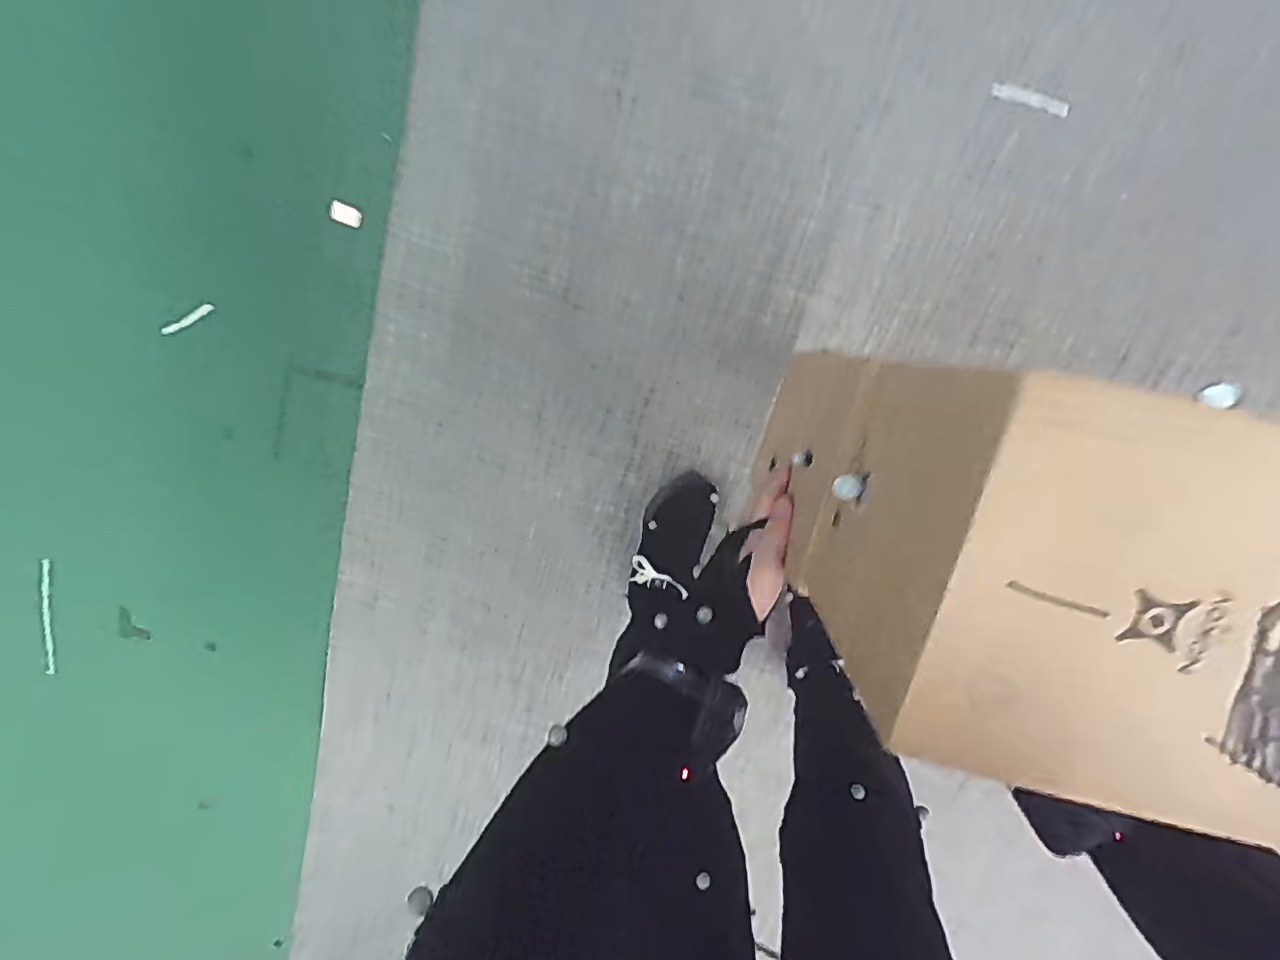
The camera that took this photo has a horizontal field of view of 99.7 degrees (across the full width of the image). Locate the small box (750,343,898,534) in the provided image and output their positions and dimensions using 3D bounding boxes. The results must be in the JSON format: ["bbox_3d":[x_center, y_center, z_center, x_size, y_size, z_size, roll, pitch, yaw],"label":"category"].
[{"bbox_3d":[0.224,-0.037,0.579,0.168,0.176,0.179,18,104,2],"label":"small box"}]

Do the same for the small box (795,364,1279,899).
[{"bbox_3d":[0.193,0.042,0.261,0.179,0.176,0.168,14,104,3],"label":"small box"}]
